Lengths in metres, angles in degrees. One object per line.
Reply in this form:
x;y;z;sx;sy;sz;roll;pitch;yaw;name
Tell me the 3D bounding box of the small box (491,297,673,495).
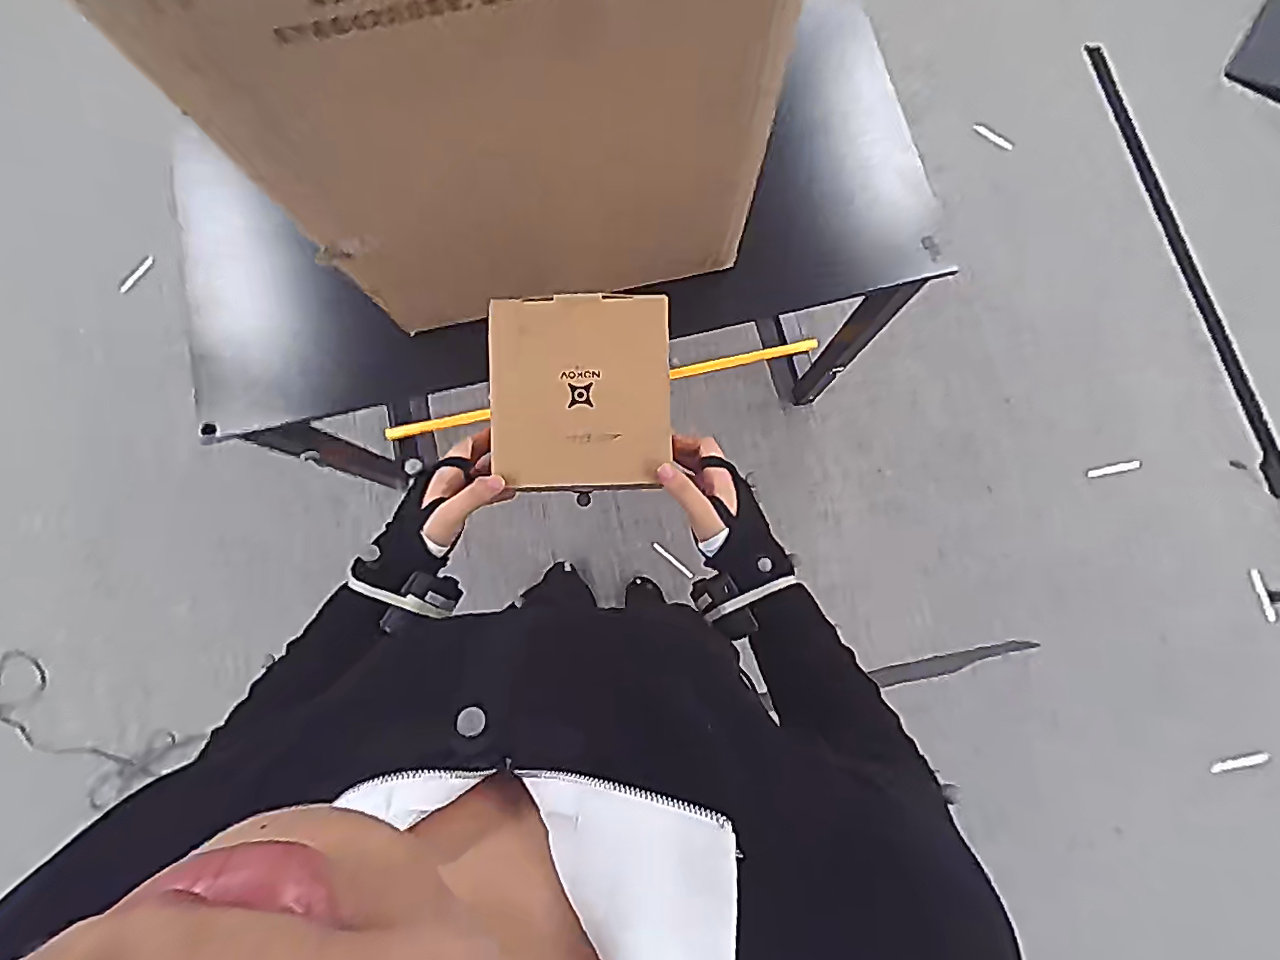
-0.053;-0.075;0.570;0.168;0.176;0.179;-1;87;0;small box
